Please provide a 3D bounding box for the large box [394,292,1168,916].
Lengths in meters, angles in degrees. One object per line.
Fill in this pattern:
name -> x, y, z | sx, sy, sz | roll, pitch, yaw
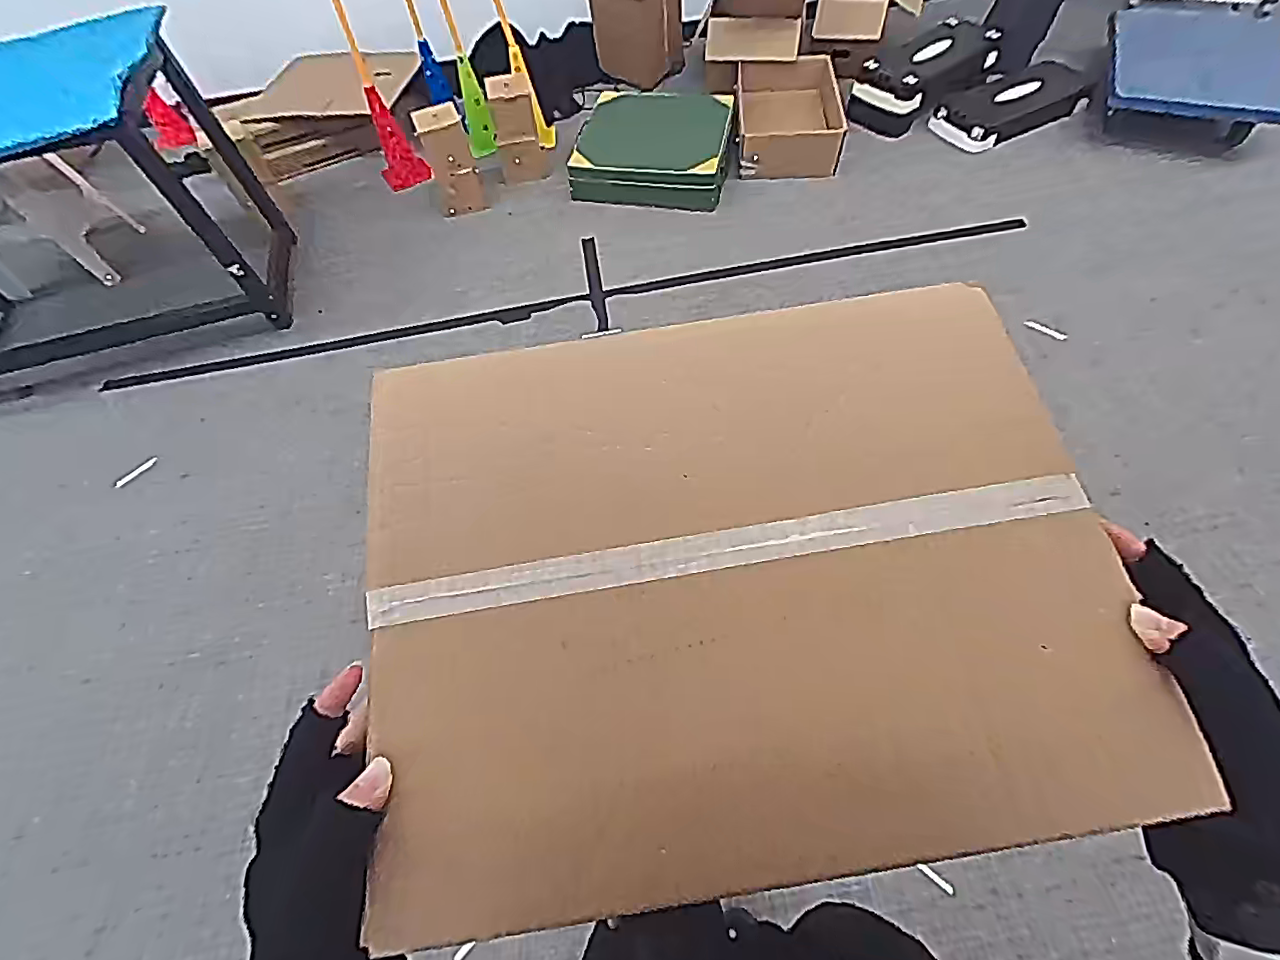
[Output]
large box -> 0.055, 0.094, 0.461 | 0.408, 0.320, 0.320 | -9, 70, -1
